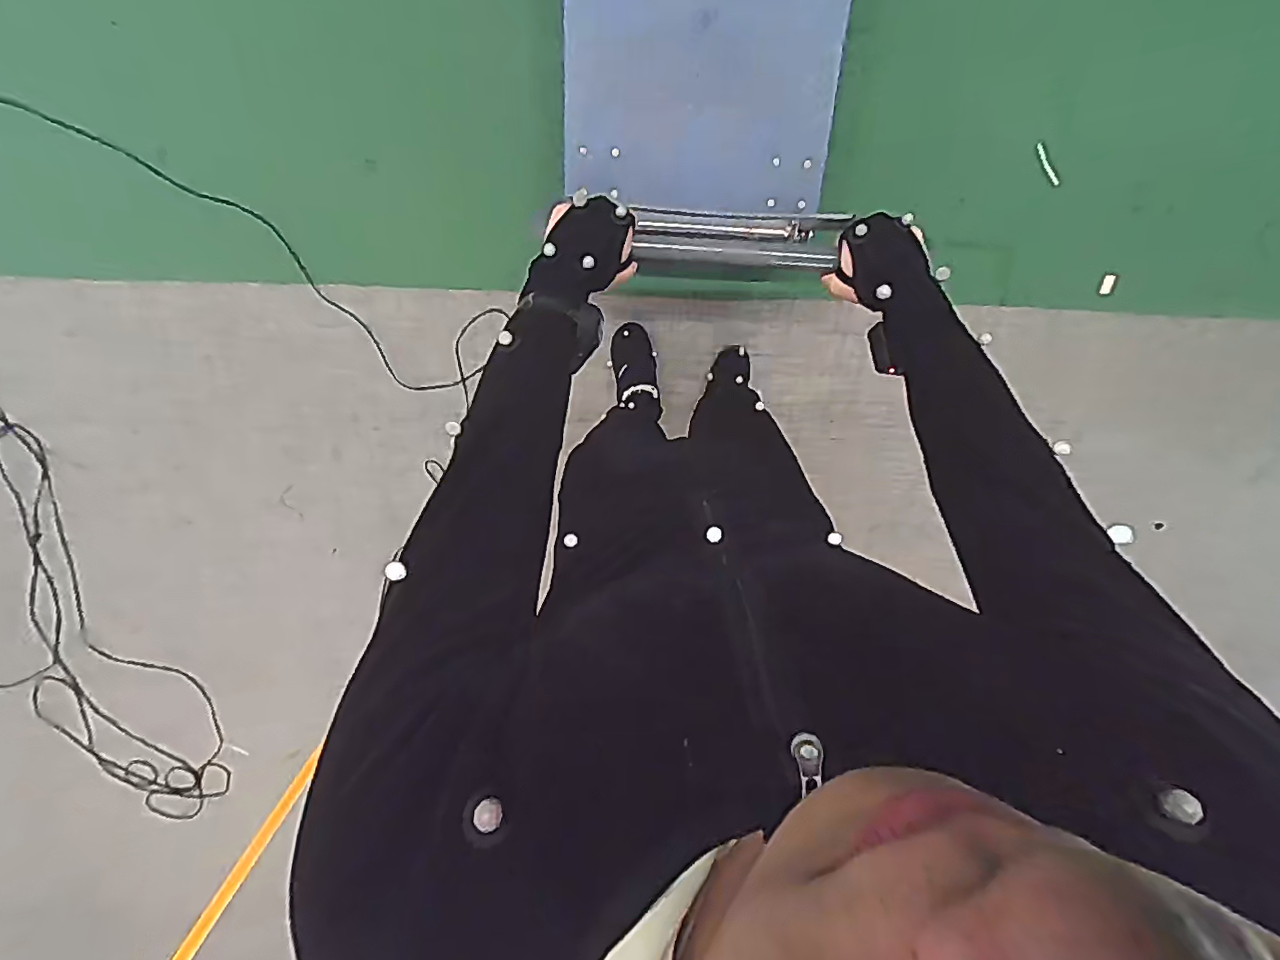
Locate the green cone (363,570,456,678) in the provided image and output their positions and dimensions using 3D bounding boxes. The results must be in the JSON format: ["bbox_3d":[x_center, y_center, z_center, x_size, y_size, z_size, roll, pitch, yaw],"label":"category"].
[{"bbox_3d":[-0.716,0.445,1.614,0.202,0.368,0.200,-1,112,1],"label":"green cone"}]
